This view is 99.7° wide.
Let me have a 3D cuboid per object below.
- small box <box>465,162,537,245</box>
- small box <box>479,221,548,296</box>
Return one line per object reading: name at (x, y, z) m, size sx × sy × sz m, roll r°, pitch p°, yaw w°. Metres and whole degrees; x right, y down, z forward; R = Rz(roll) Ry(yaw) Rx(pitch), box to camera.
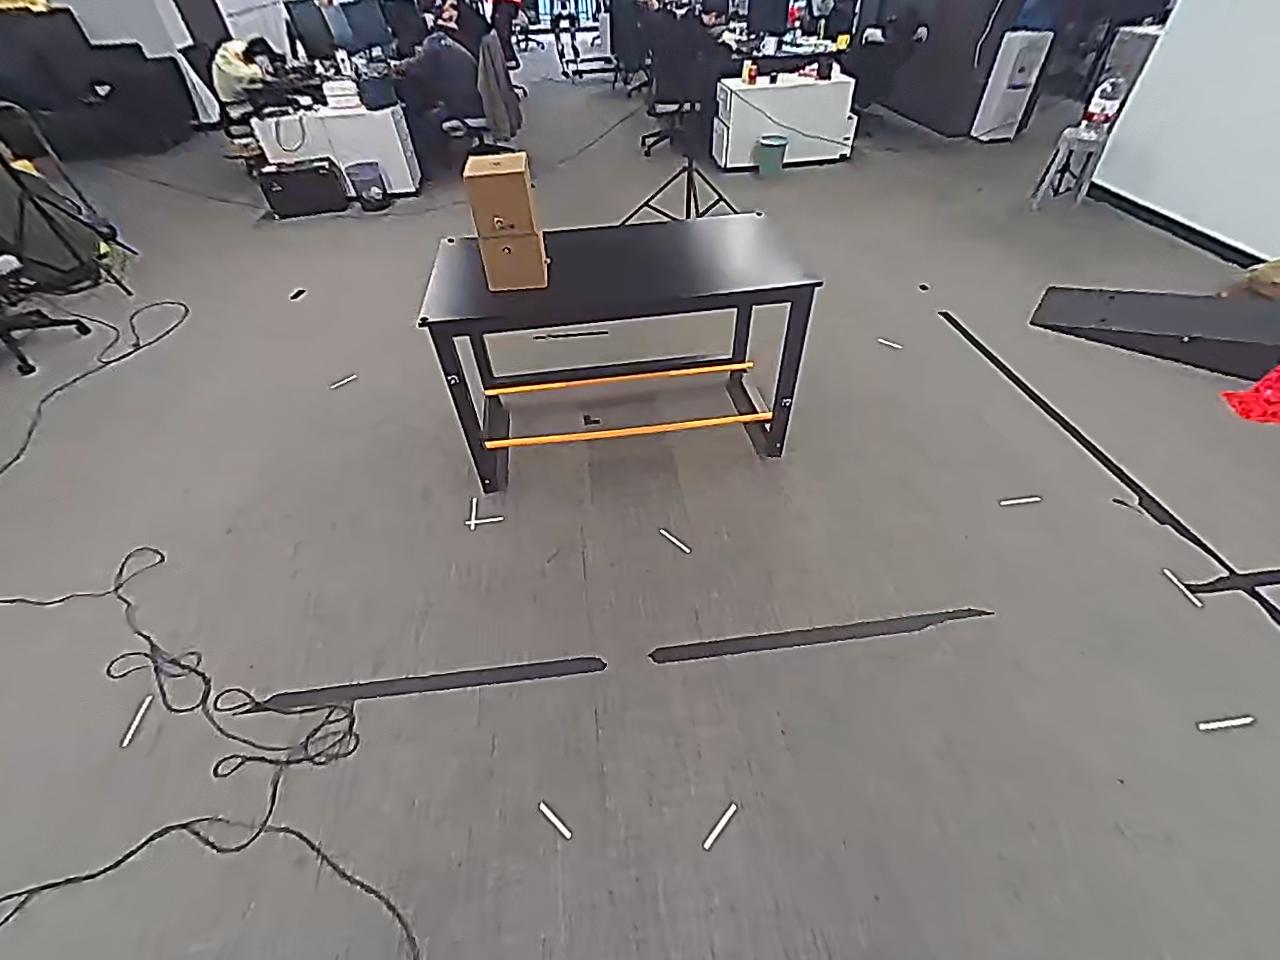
small box at (-0.397, -0.802, 1.570) m, size 0.168 × 0.176 × 0.179 m, roll -8°, pitch 46°, yaw -3°
small box at (-0.389, -0.688, 1.686) m, size 0.179 × 0.176 × 0.168 m, roll -5°, pitch 45°, yaw -4°
